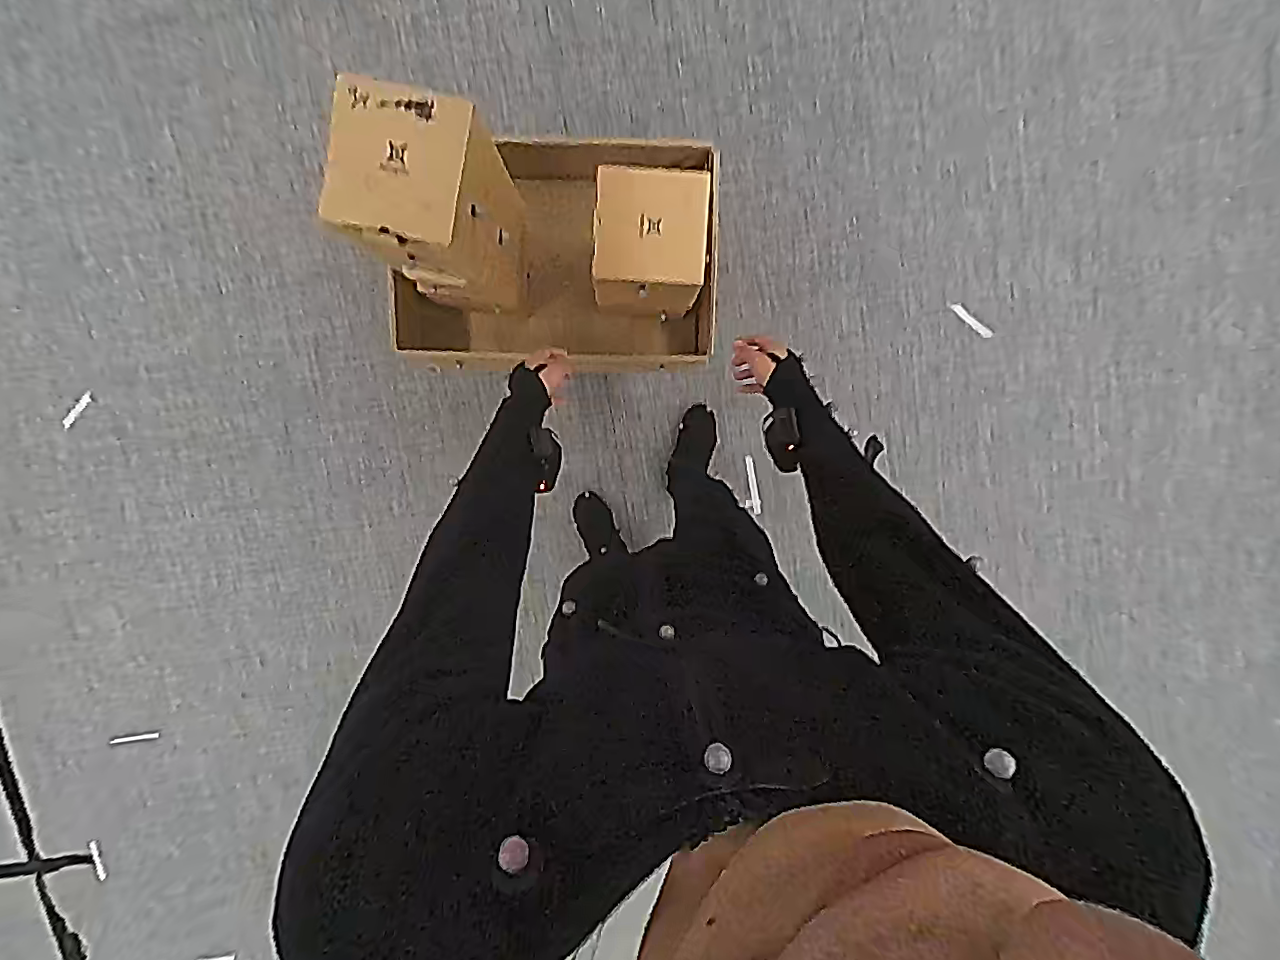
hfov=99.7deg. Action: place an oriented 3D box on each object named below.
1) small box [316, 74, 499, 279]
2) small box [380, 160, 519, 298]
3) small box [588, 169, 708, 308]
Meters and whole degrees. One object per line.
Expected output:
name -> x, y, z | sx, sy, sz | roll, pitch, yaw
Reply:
small box -> -0.300, -0.391, 0.732 | 0.168, 0.176, 0.179 | 12, 96, -3
small box -> -0.305, -0.414, 0.895 | 0.168, 0.176, 0.179 | 8, 95, -2
small box -> 0.011, -0.392, 0.905 | 0.179, 0.176, 0.168 | 3, 95, -1
